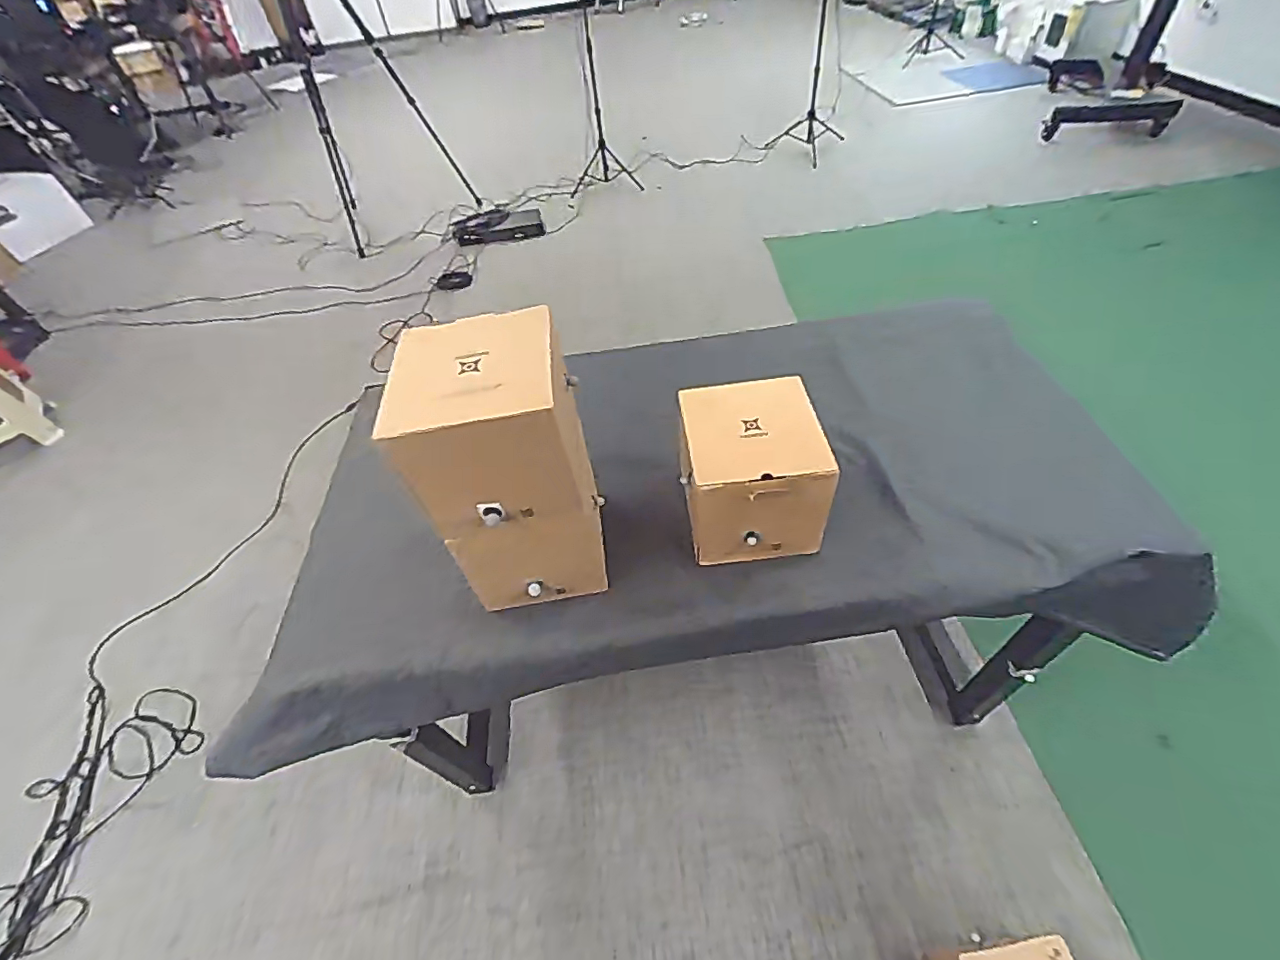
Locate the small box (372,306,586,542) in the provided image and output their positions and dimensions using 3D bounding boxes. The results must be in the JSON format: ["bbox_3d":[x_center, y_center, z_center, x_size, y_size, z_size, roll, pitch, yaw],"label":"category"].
[{"bbox_3d":[-0.159,-0.059,0.588,0.168,0.176,0.179,-11,50,-1],"label":"small box"}]

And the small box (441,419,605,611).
[{"bbox_3d":[-0.143,0.046,0.711,0.168,0.176,0.179,-10,49,-1],"label":"small box"}]

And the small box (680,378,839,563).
[{"bbox_3d":[0.145,-0.011,0.726,0.168,0.176,0.179,-7,49,1],"label":"small box"}]
